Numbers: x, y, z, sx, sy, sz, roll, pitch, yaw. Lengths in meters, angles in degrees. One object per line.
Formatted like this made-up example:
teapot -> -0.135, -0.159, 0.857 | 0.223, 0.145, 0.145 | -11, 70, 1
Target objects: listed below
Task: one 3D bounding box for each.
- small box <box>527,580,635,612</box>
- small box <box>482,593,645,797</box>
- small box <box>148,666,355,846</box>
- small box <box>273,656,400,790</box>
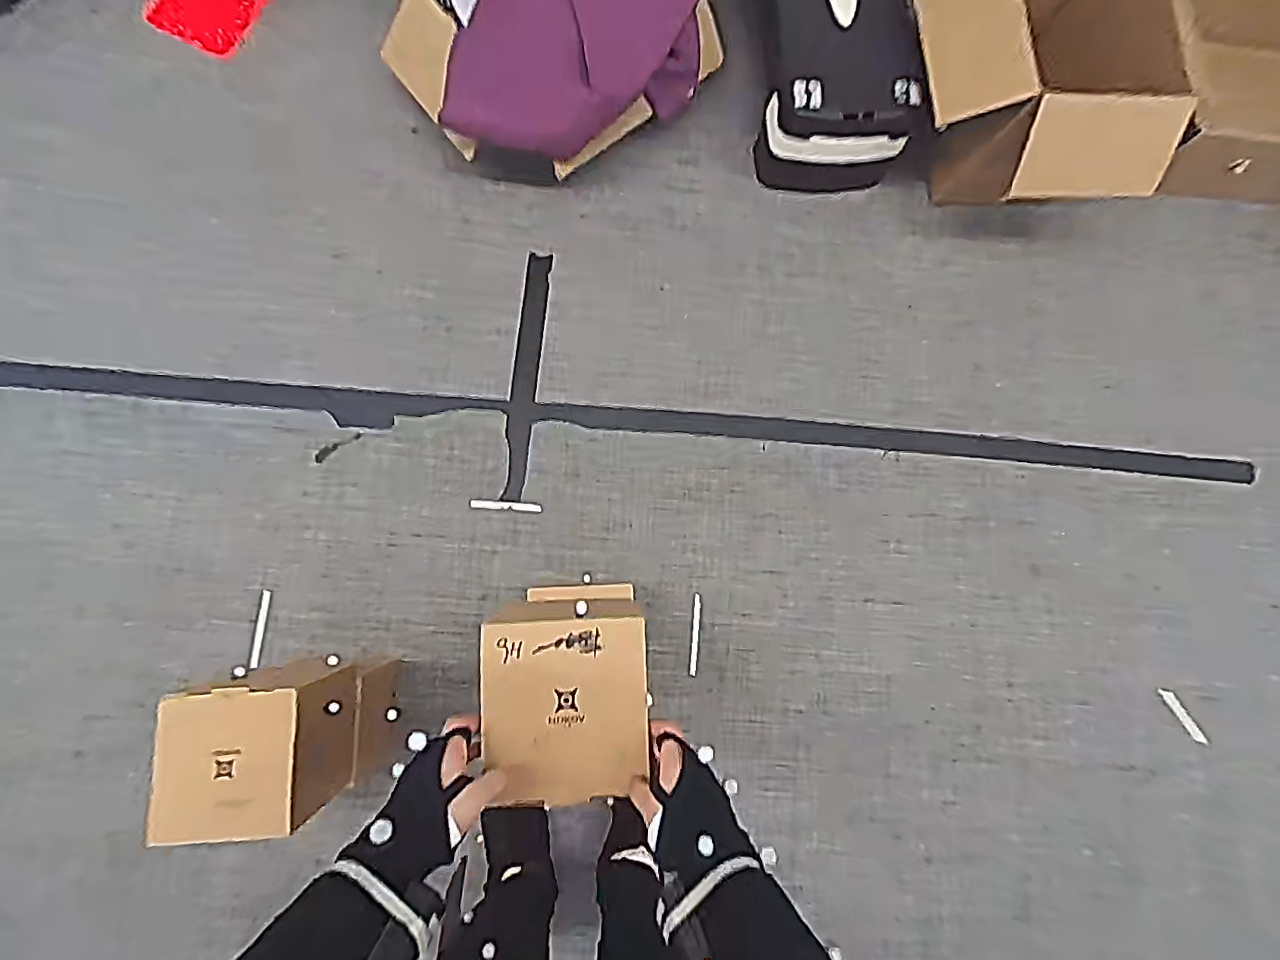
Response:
small box -> -0.102, 0.265, 0.949 | 0.179, 0.176, 0.168 | -1, 82, -5
small box -> -0.083, 0.232, 0.625 | 0.168, 0.176, 0.179 | -1, 85, -6
small box -> -0.509, 0.357, 0.736 | 0.168, 0.176, 0.179 | -2, 83, -4
small box -> -0.522, 0.392, 0.894 | 0.179, 0.176, 0.168 | 2, 82, -5
